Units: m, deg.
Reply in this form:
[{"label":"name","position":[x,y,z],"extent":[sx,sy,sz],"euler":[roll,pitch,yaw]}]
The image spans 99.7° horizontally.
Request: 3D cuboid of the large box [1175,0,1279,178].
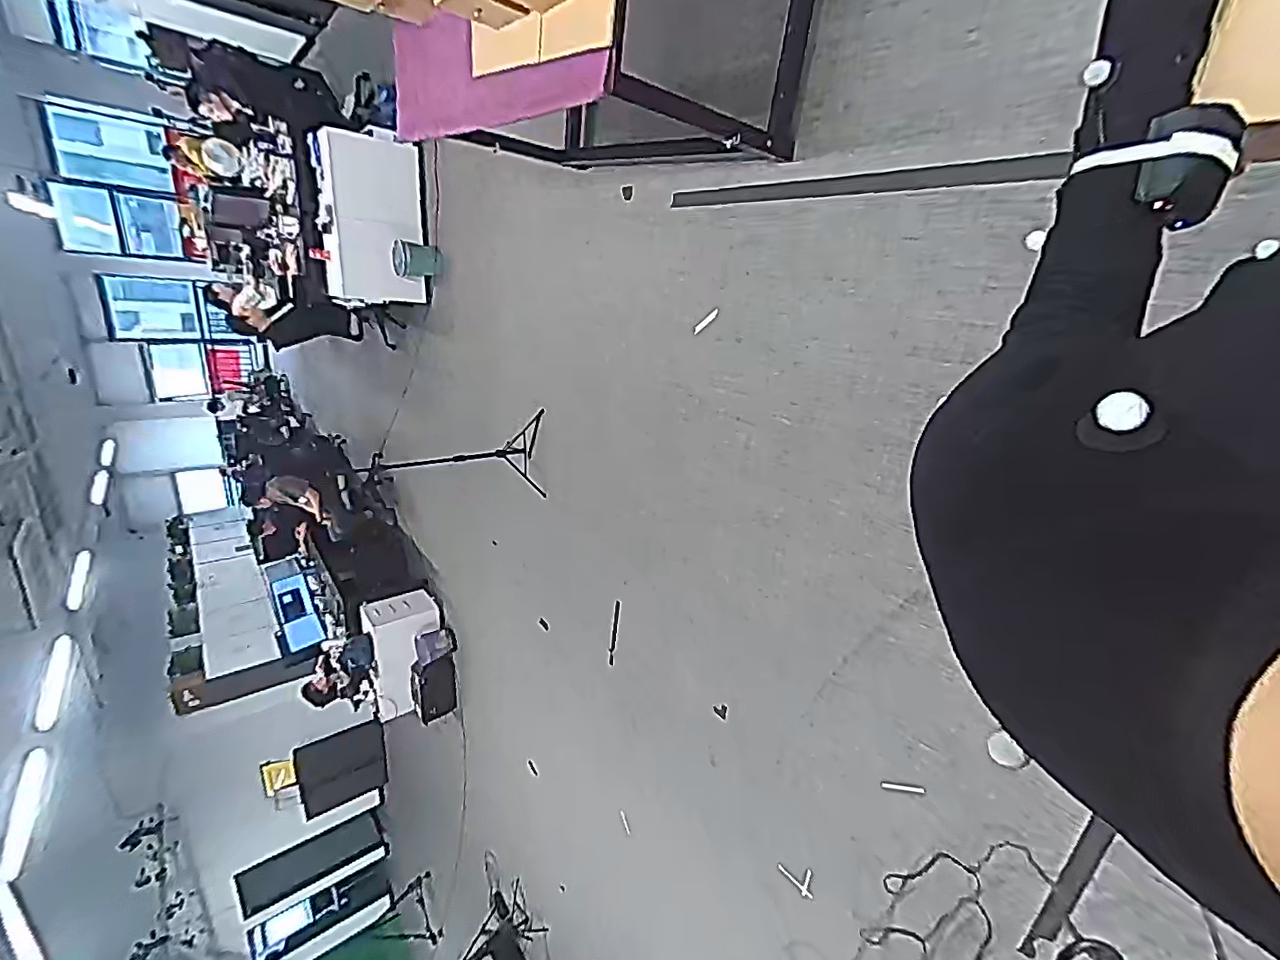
[{"label":"large box","position":[0.642,-0.384,0.315],"extent":[0.408,0.320,0.320],"euler":[21,122,42]}]
